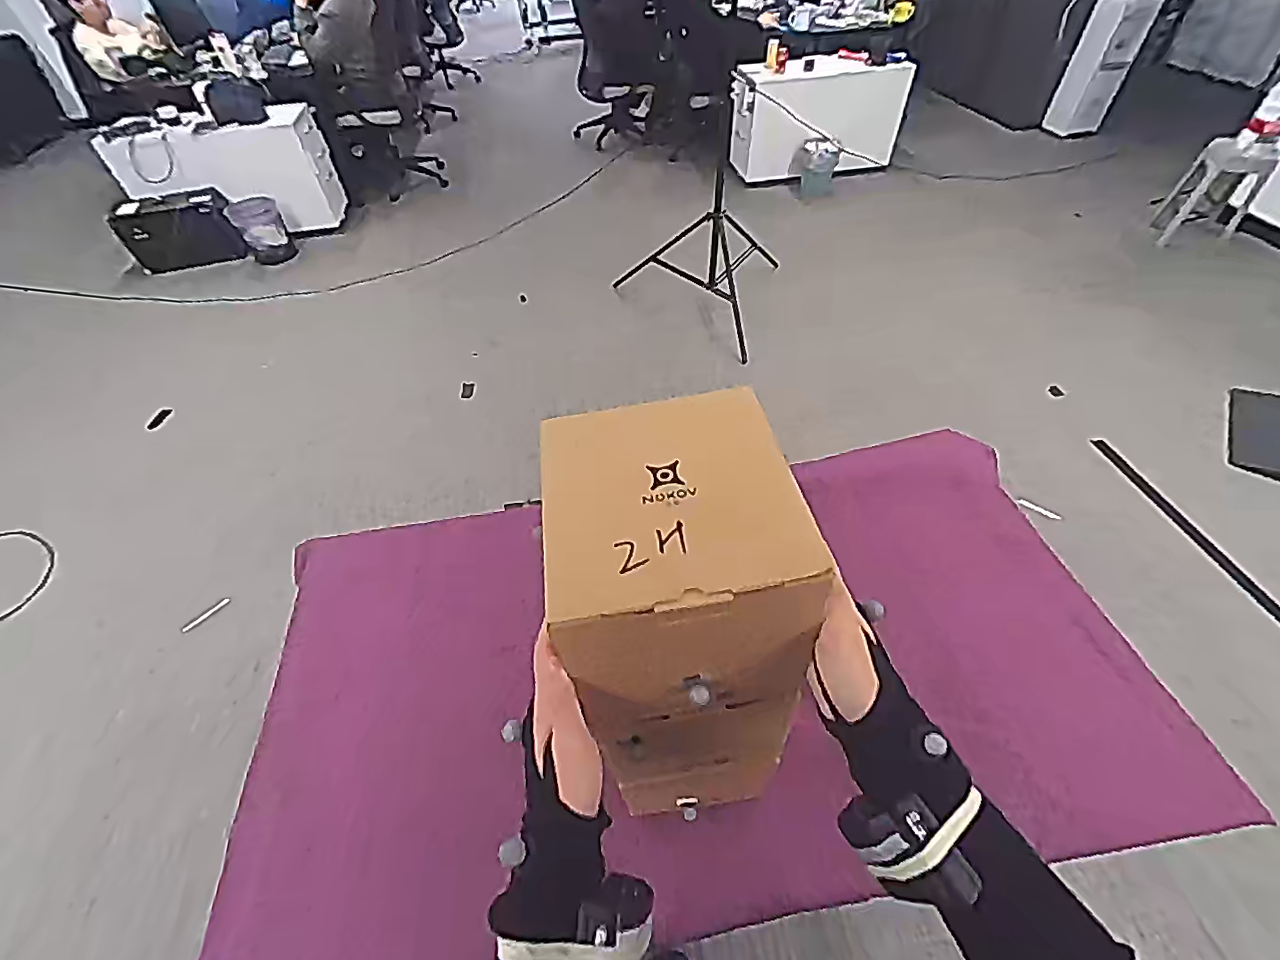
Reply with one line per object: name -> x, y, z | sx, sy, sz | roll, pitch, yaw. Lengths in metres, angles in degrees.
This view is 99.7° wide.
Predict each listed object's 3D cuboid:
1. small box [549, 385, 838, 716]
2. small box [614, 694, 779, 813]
small box -> 0.027, 0.055, 0.416 | 0.168, 0.176, 0.179 | -9, 48, -2
small box -> 0.054, 0.279, 0.656 | 0.168, 0.176, 0.179 | -8, 49, -2
